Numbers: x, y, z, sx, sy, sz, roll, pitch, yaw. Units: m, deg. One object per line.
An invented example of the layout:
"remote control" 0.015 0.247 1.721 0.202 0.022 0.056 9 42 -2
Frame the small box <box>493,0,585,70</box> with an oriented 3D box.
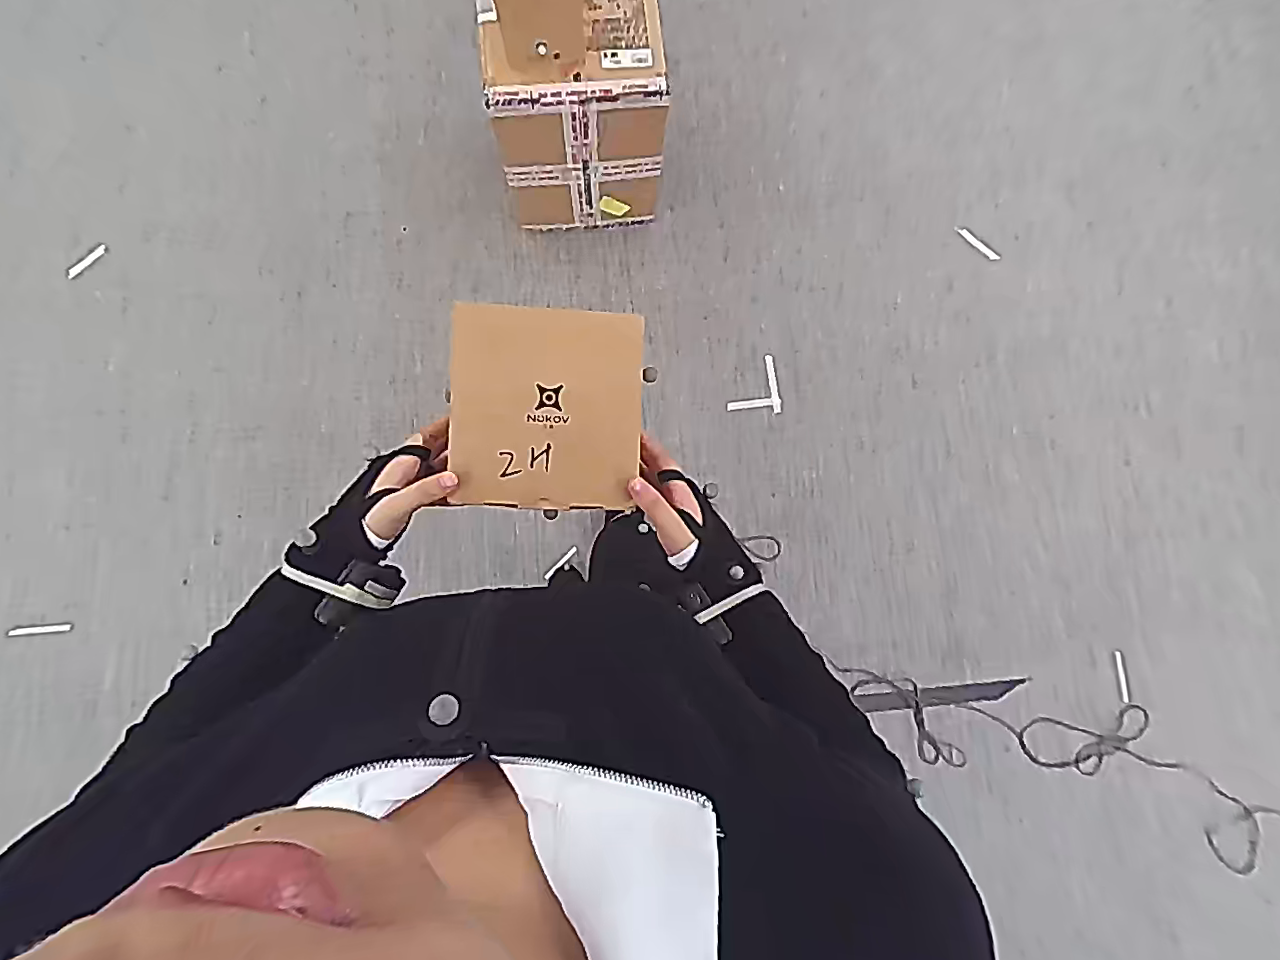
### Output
"small box" -0.199 -0.949 1.052 0.168 0.176 0.179 -7 87 -3
